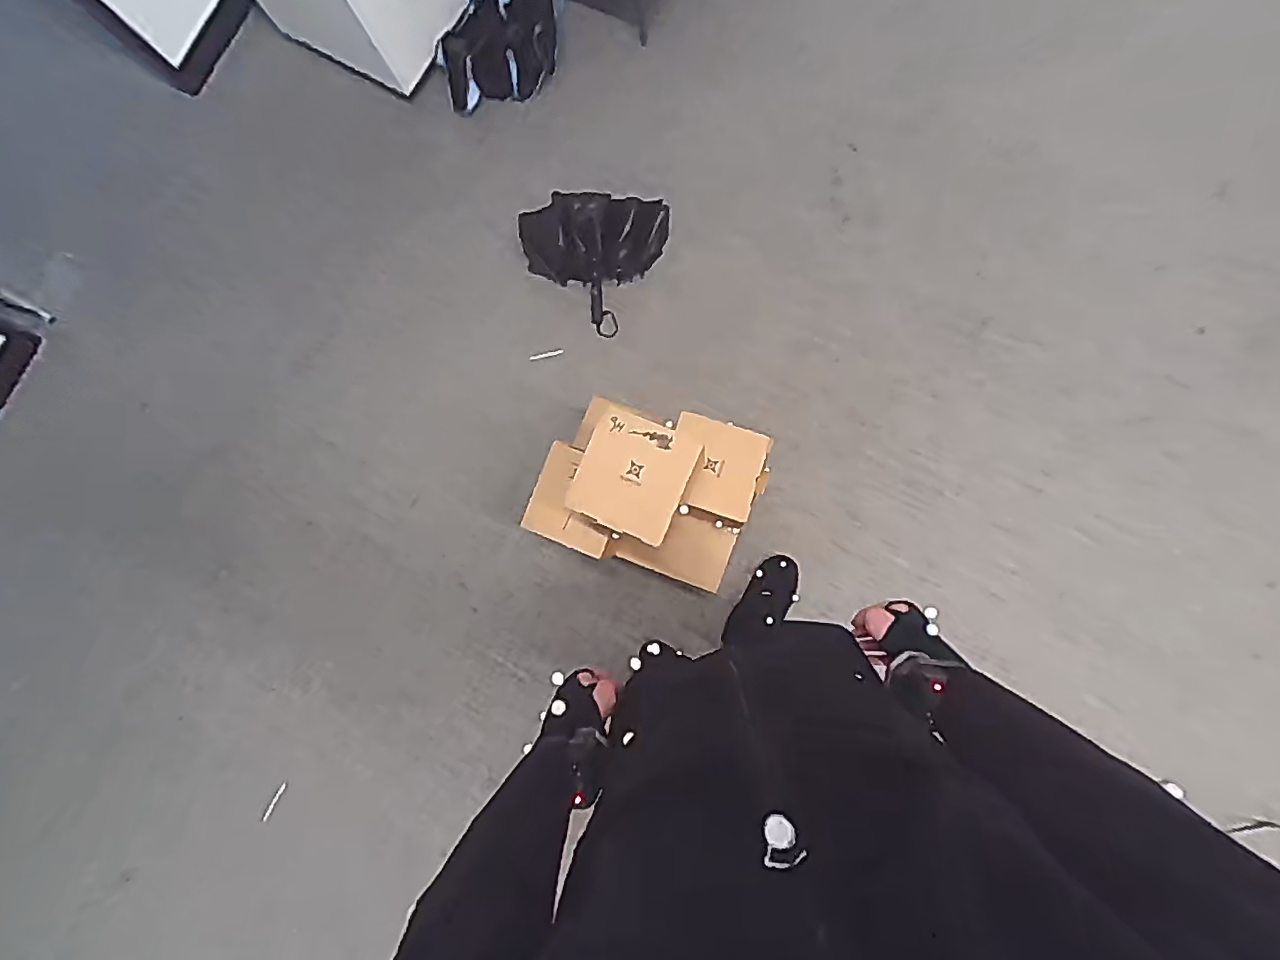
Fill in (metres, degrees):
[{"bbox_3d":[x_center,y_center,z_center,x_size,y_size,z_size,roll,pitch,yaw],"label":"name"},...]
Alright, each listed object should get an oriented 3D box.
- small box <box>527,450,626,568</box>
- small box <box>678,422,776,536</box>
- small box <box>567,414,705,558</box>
[{"bbox_3d":[-0.096,0.059,1.075,0.168,0.176,0.179,22,88,9],"label":"small box"},{"bbox_3d":[0.148,0.006,1.055,0.179,0.176,0.168,17,82,10],"label":"small box"},{"bbox_3d":[0.005,0.016,0.901,0.168,0.176,0.179,23,87,10],"label":"small box"}]
